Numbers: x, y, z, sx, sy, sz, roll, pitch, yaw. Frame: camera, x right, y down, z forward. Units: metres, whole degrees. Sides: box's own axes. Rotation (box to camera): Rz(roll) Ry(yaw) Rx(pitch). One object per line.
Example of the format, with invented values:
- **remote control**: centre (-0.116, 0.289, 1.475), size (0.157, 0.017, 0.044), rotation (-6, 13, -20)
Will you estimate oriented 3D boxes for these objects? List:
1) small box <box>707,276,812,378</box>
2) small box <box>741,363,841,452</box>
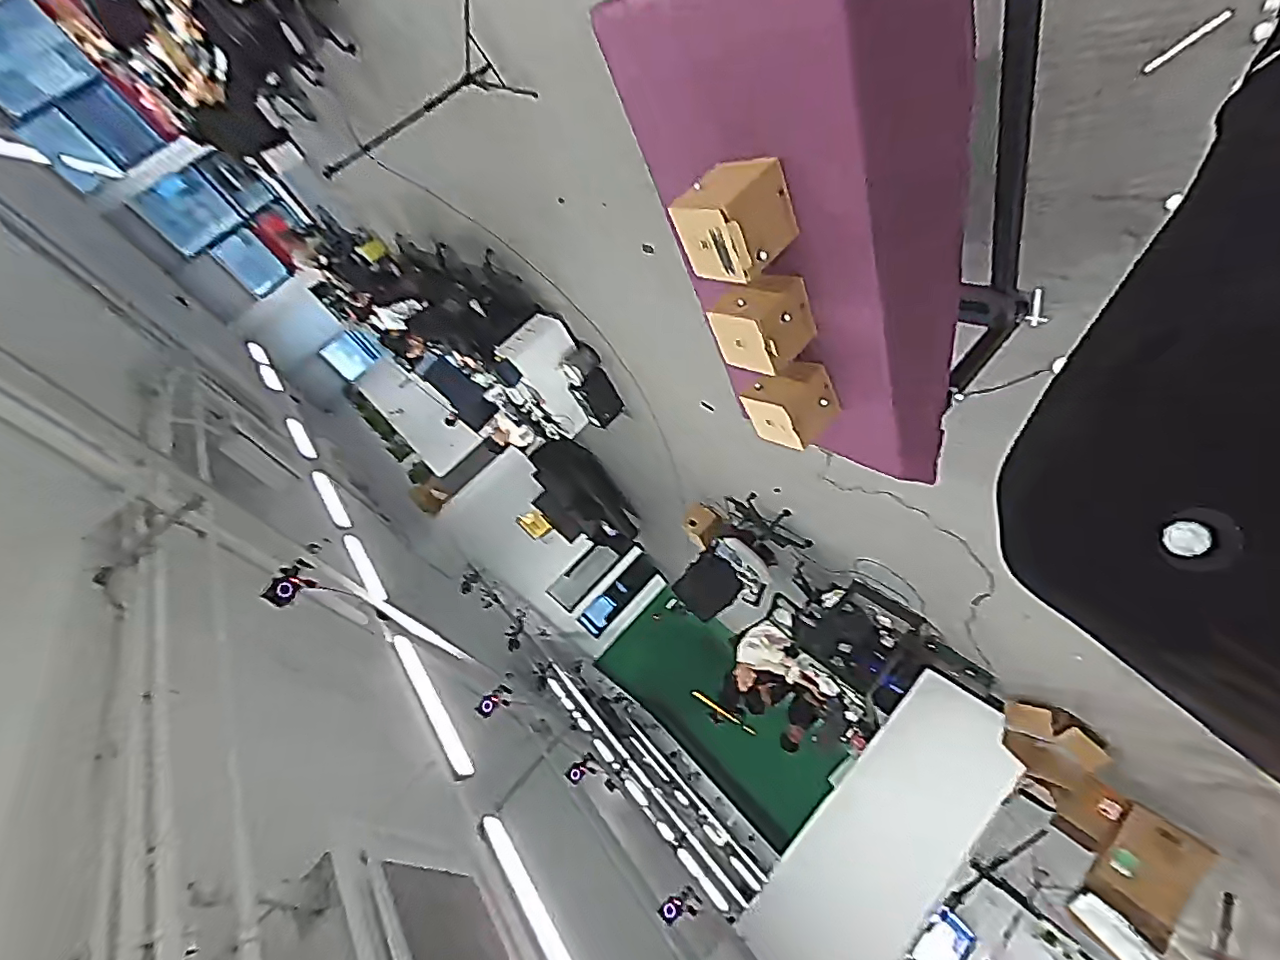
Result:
- **small box**: centre (0.303, -0.382, 1.331), size (0.179, 0.176, 0.168), rotation (32, 161, 47)
- **small box**: centre (0.421, -0.208, 1.501), size (0.179, 0.176, 0.168), rotation (27, 159, 53)
